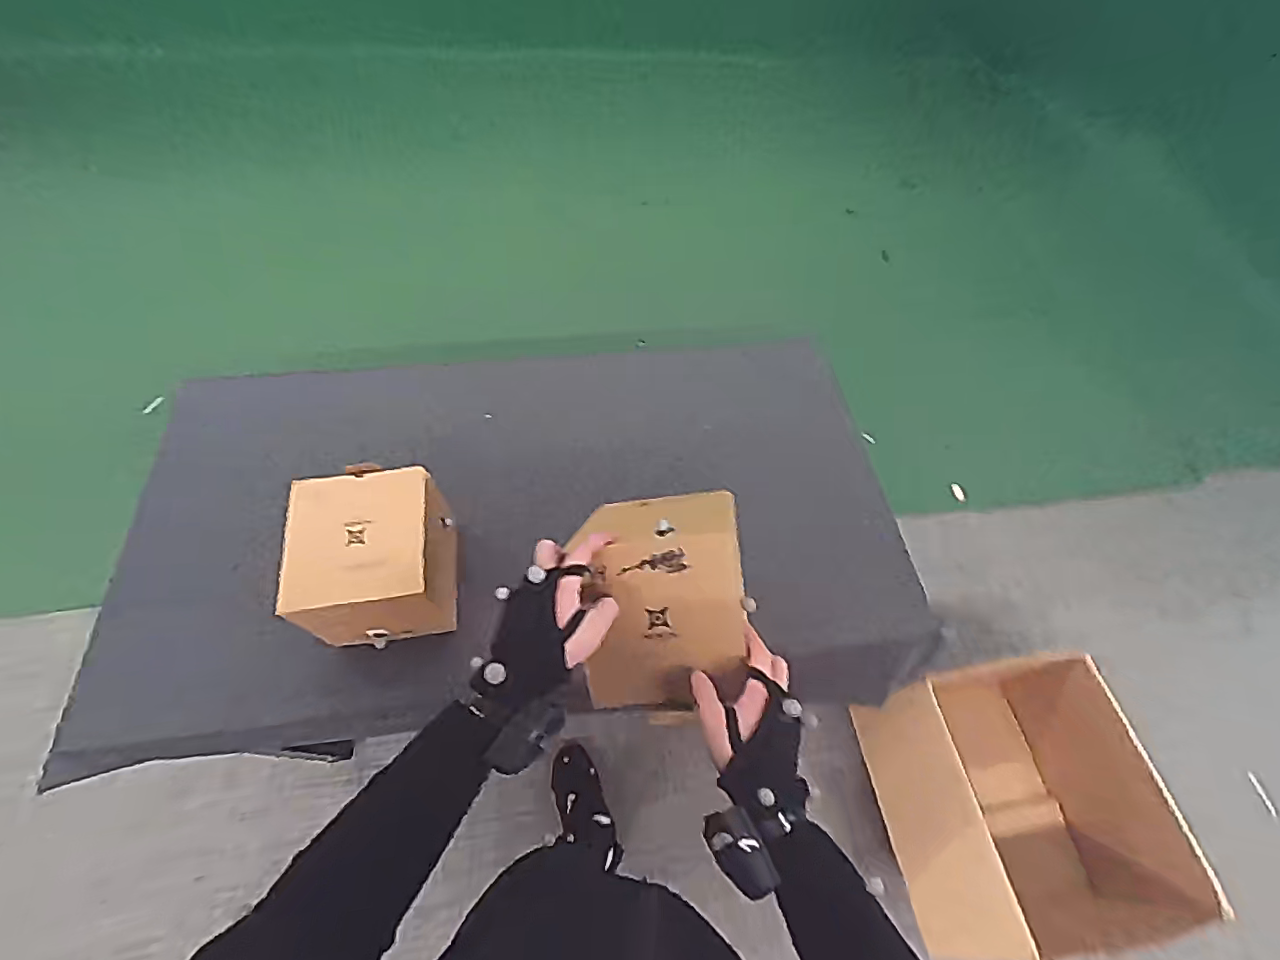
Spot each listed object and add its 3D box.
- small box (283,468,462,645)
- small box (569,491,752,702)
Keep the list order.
[{"bbox_3d":[-0.343,0.107,0.732,0.168,0.176,0.179,-7,61,-8],"label":"small box"},{"bbox_3d":[0.035,0.122,0.605,0.168,0.176,0.179,-7,100,11],"label":"small box"}]
